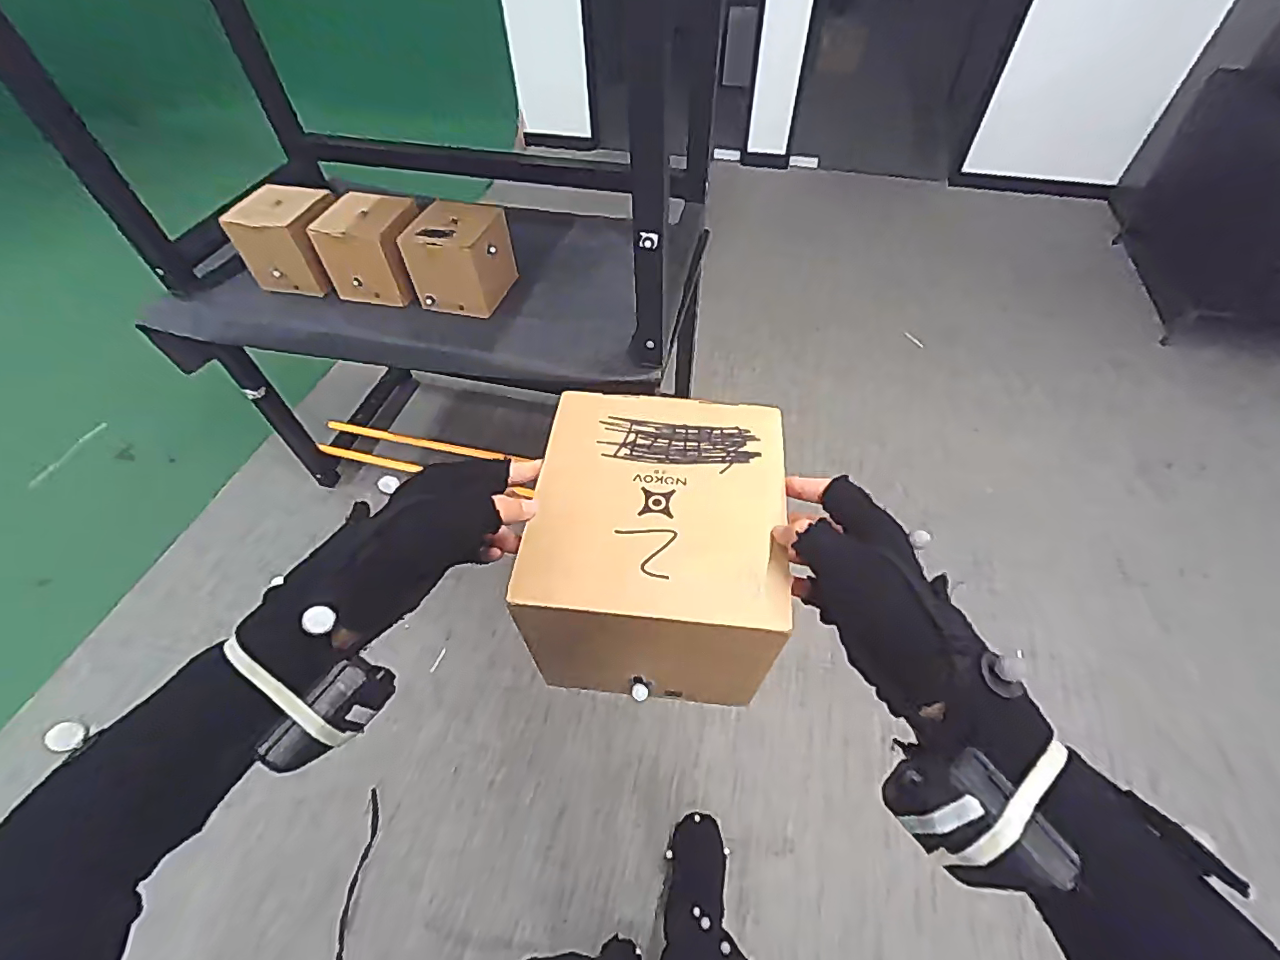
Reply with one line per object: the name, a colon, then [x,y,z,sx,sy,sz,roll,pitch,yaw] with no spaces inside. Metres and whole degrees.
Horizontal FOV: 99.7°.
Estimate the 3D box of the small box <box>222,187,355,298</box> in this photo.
small box: [-0.801,-0.553,1.260,0.168,0.176,0.179,9,53,8]
